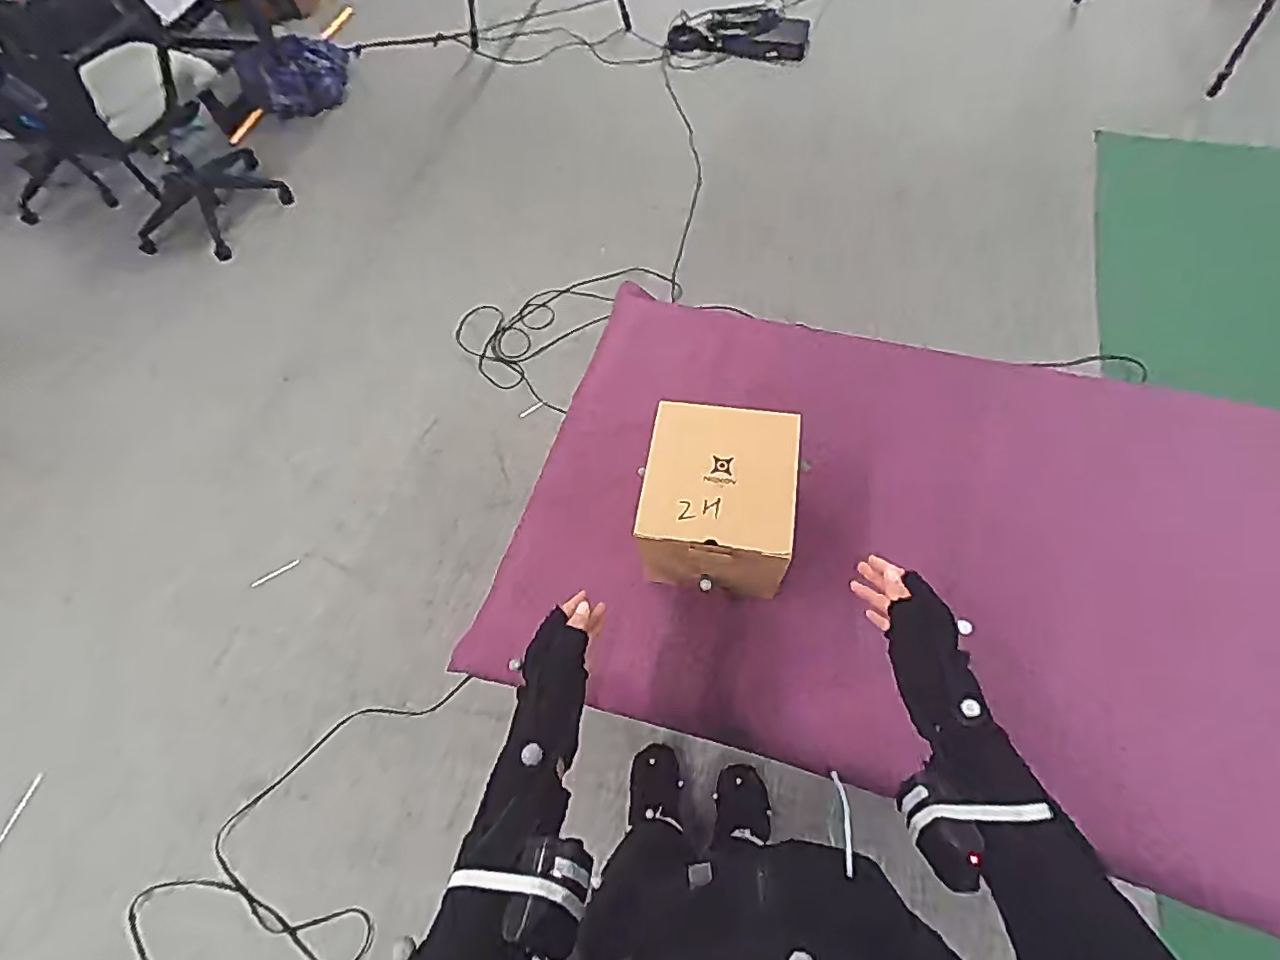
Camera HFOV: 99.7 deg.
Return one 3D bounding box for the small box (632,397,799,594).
[{"bbox_3d":[0.093,0.024,0.663,0.168,0.176,0.179,7,65,10],"label":"small box"}]
